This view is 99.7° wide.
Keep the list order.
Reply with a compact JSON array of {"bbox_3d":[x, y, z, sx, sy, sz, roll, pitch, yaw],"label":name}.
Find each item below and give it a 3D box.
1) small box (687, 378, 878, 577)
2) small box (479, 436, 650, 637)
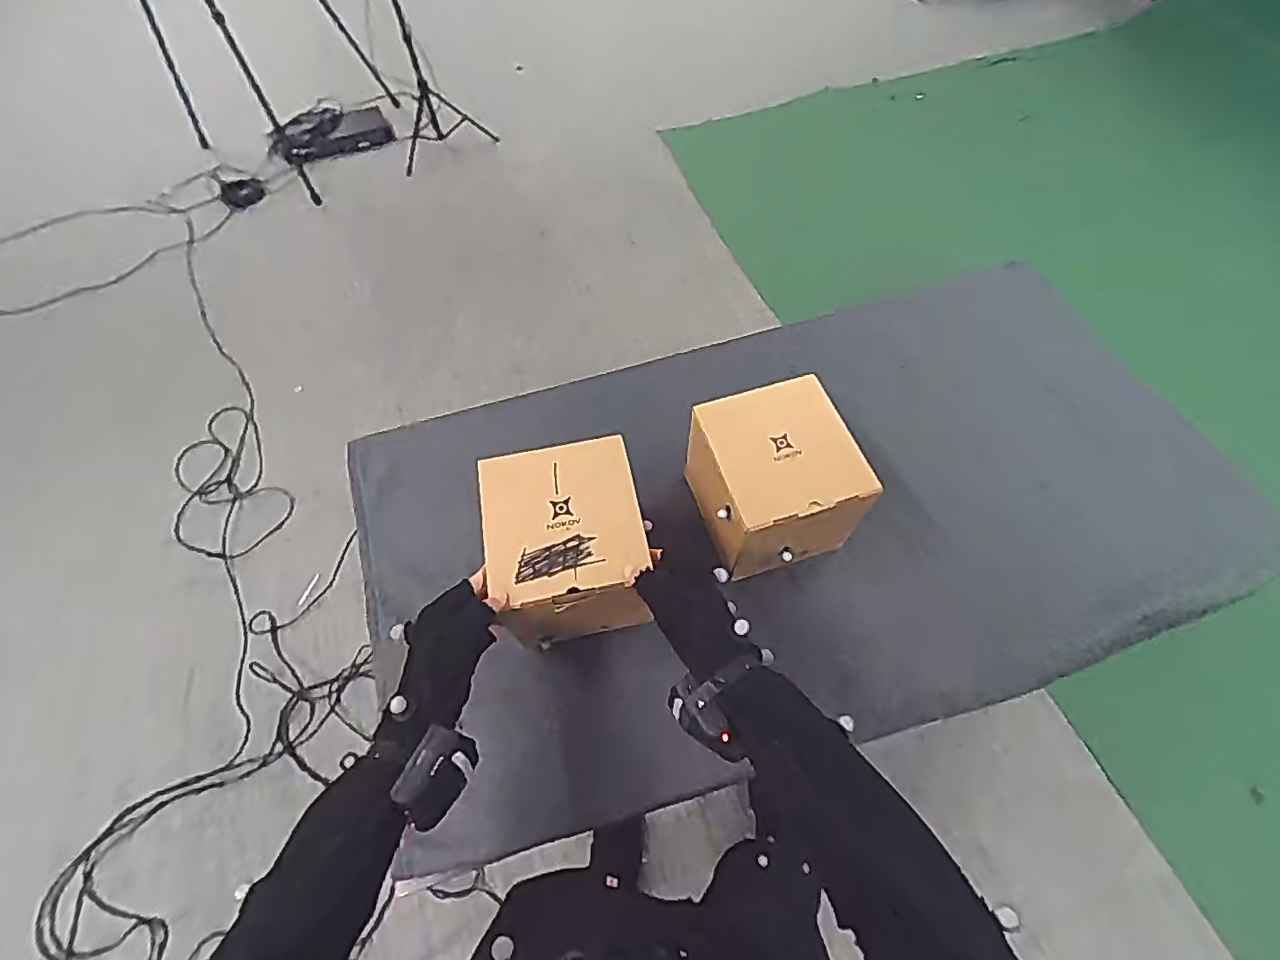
[{"bbox_3d":[0.165,0.001,0.702,0.168,0.176,0.179,-16,62,-7],"label":"small box"},{"bbox_3d":[-0.082,0.076,0.641,0.168,0.176,0.179,-11,61,-5],"label":"small box"}]
